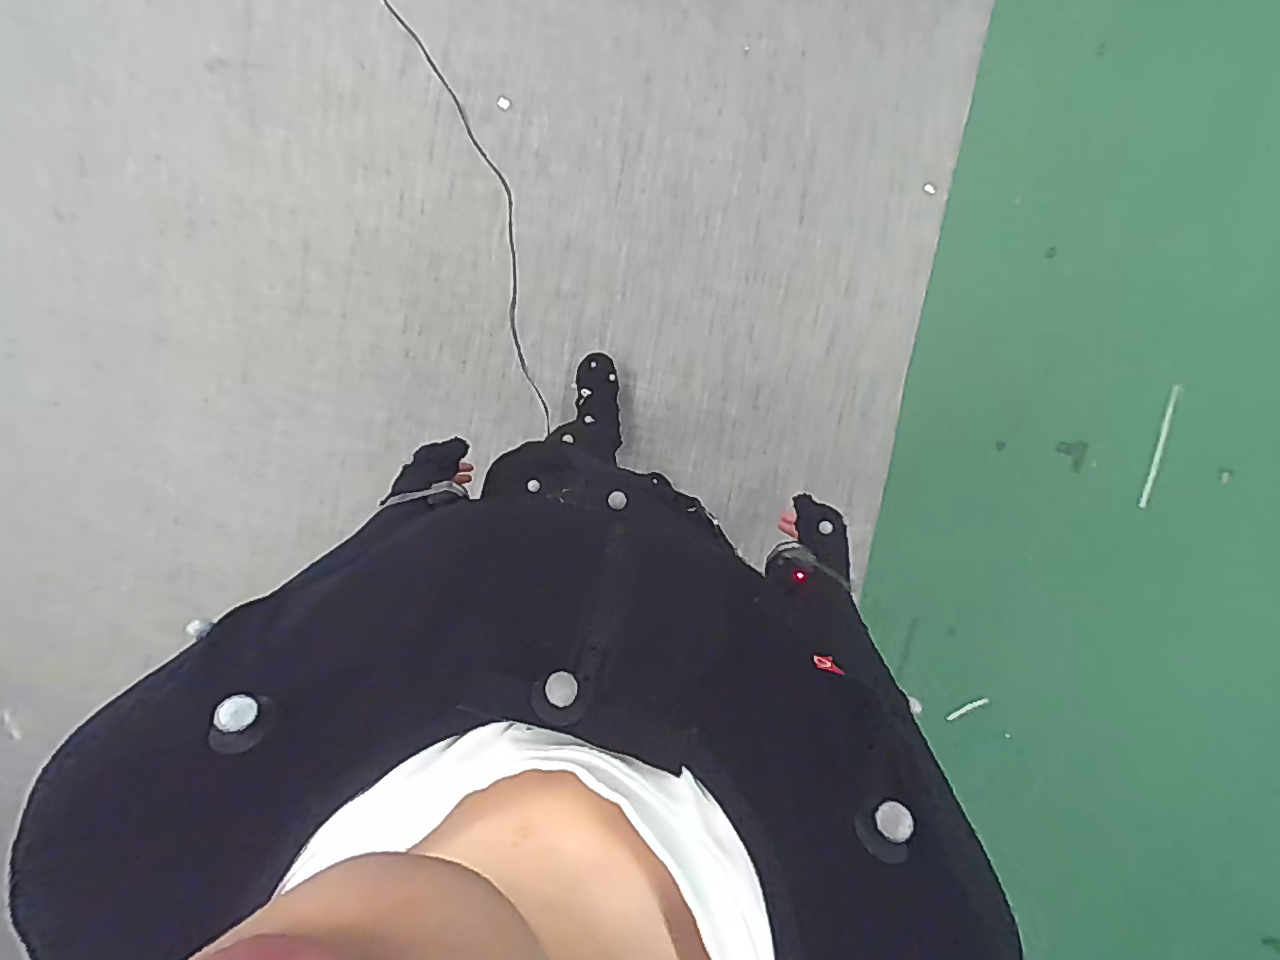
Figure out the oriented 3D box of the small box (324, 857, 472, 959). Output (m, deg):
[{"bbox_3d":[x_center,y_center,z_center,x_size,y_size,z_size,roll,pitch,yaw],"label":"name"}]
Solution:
[{"bbox_3d":[-0.390,0.759,0.867,0.168,0.176,0.179,16,94,5],"label":"small box"}]
